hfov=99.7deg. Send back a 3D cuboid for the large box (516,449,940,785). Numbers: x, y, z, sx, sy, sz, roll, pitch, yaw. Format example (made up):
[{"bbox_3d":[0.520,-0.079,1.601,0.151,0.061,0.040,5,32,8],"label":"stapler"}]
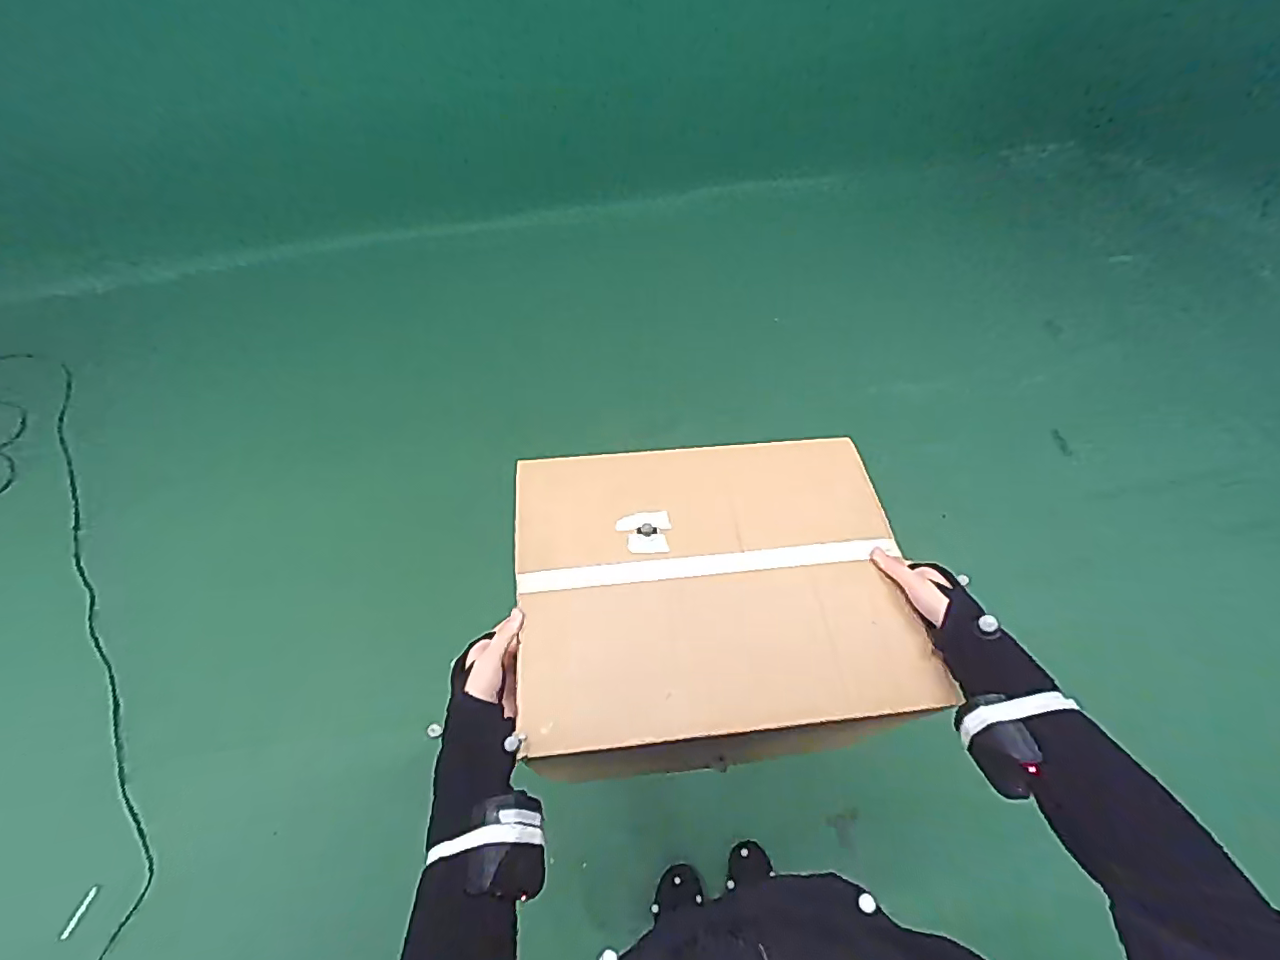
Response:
[{"bbox_3d":[0.069,0.187,0.696,0.408,0.320,0.320,-4,56,-5],"label":"large box"}]
